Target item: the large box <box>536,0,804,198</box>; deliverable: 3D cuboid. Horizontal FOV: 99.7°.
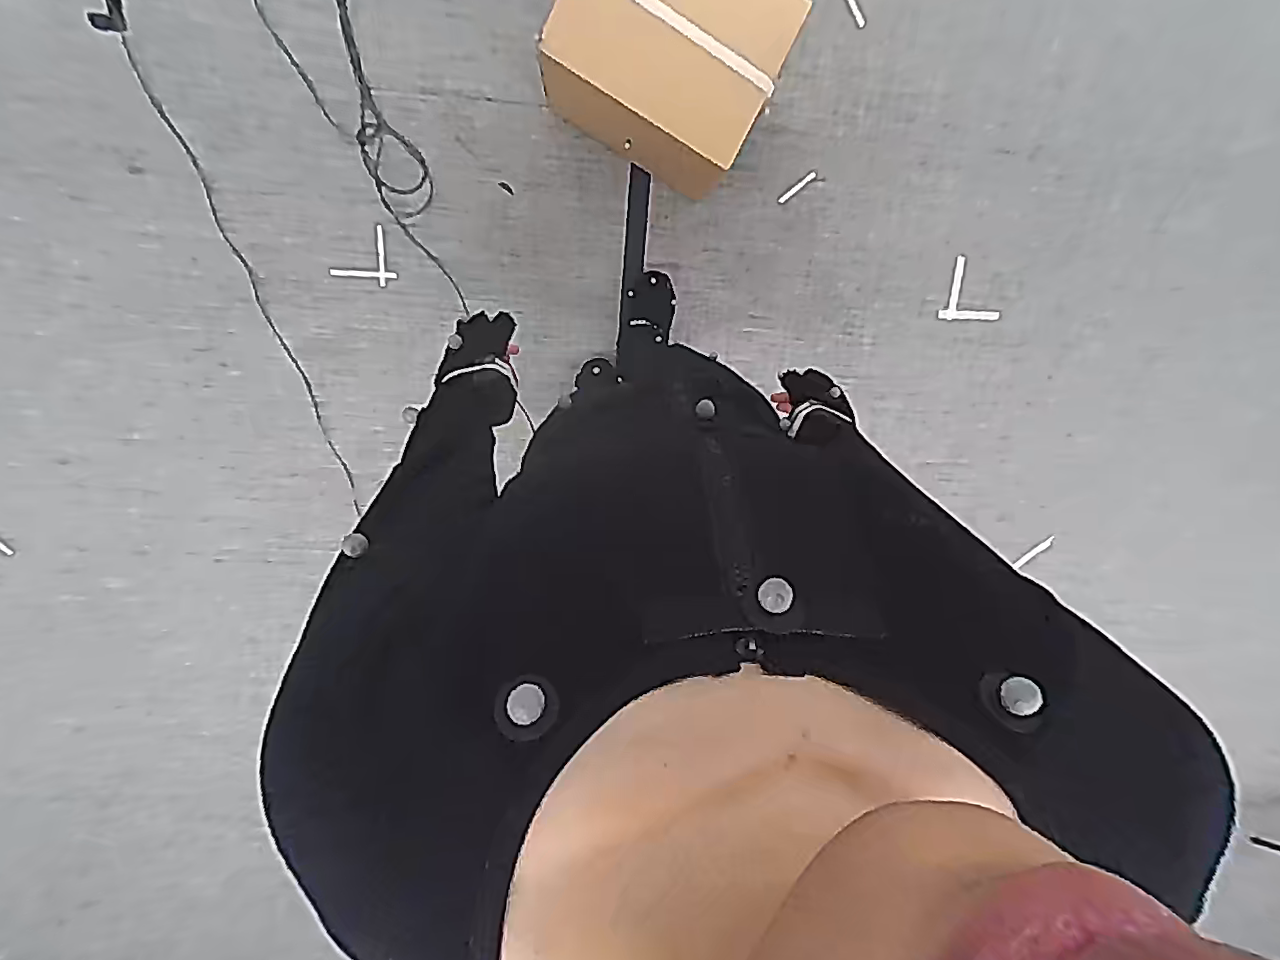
[{"bbox_3d":[0.046,-0.854,1.114,0.408,0.320,0.320,26,102,-12],"label":"large box"}]
